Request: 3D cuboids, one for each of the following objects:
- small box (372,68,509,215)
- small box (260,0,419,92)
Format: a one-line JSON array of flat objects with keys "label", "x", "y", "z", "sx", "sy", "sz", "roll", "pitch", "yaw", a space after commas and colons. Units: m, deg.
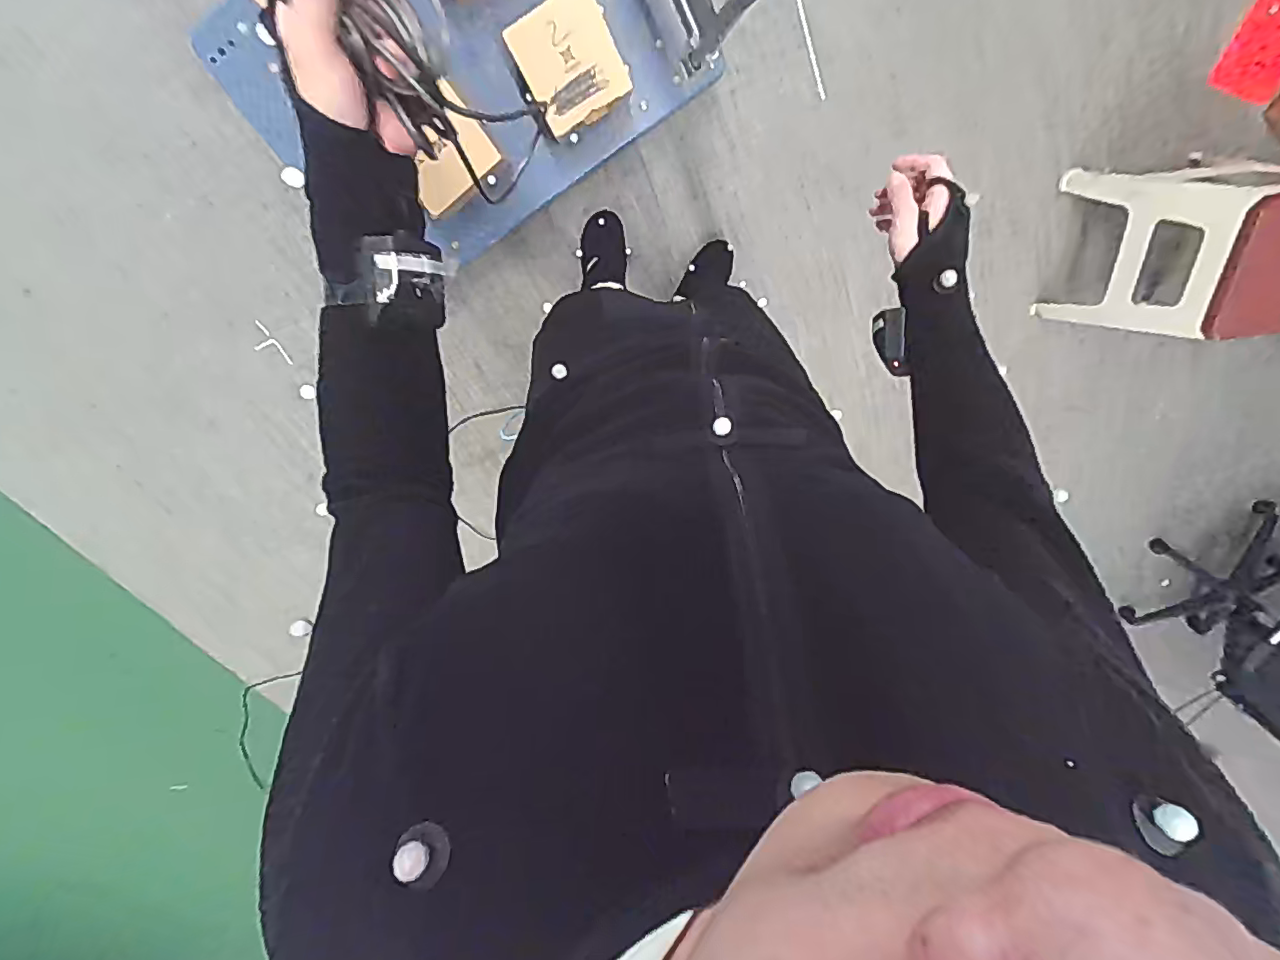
[{"label": "small box", "x": -0.372, "y": -0.645, "z": 1.048, "sx": 0.179, "sy": 0.176, "sz": 0.168, "roll": -33, "pitch": 116, "yaw": 13}, {"label": "small box", "x": -0.517, "y": -0.818, "z": 0.939, "sx": 0.179, "sy": 0.176, "sz": 0.168, "roll": -34, "pitch": 117, "yaw": 12}]
